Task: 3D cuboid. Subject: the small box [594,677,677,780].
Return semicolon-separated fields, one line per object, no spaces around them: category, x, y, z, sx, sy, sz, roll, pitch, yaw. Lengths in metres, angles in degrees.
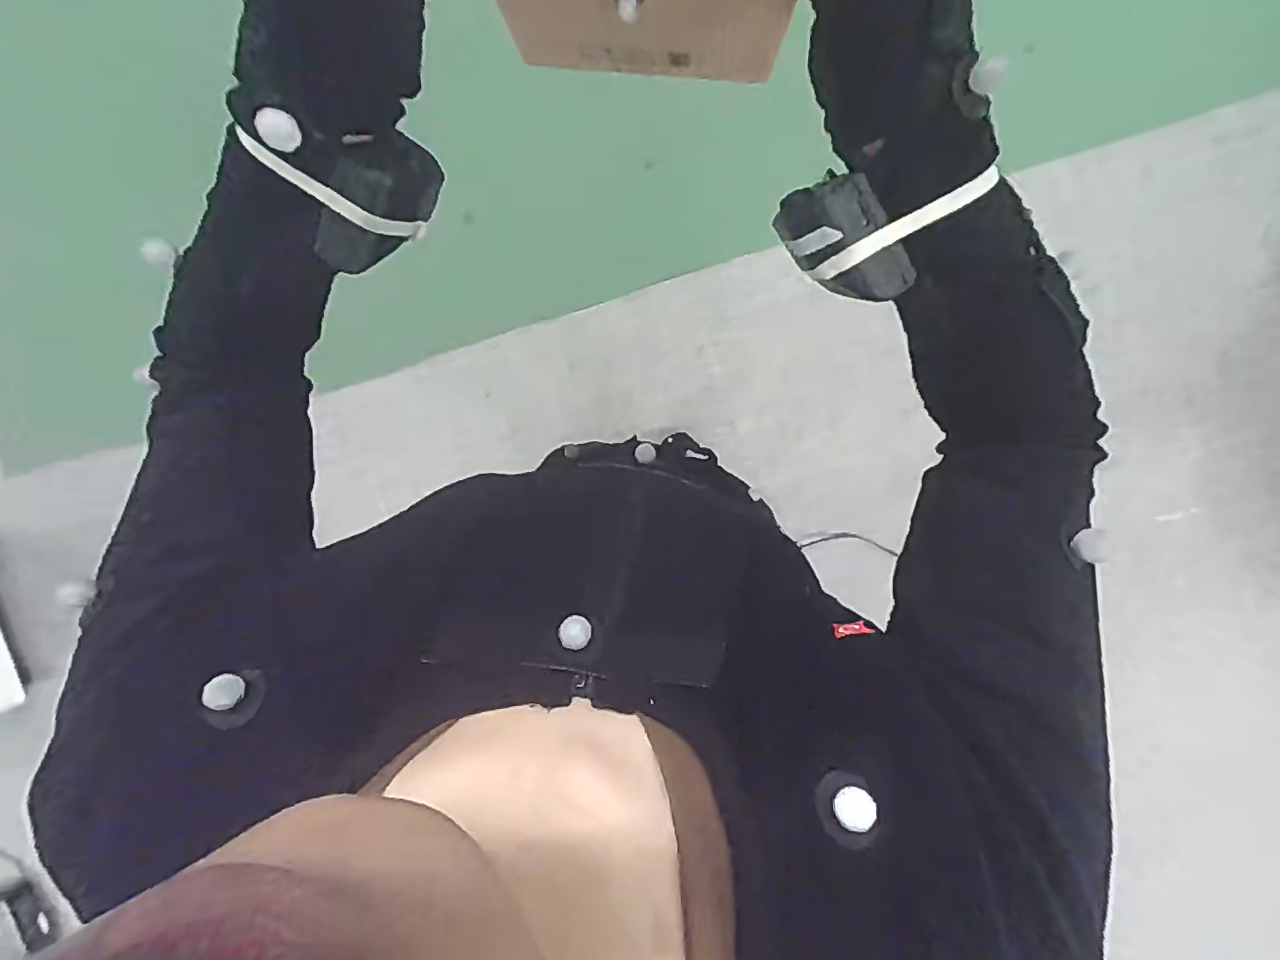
small box;-0.010;0.664;1.463;0.179;0.176;0.168;-20;95;2

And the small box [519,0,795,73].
small box;0.013;-0.345;0.268;0.168;0.176;0.179;6;99;1
